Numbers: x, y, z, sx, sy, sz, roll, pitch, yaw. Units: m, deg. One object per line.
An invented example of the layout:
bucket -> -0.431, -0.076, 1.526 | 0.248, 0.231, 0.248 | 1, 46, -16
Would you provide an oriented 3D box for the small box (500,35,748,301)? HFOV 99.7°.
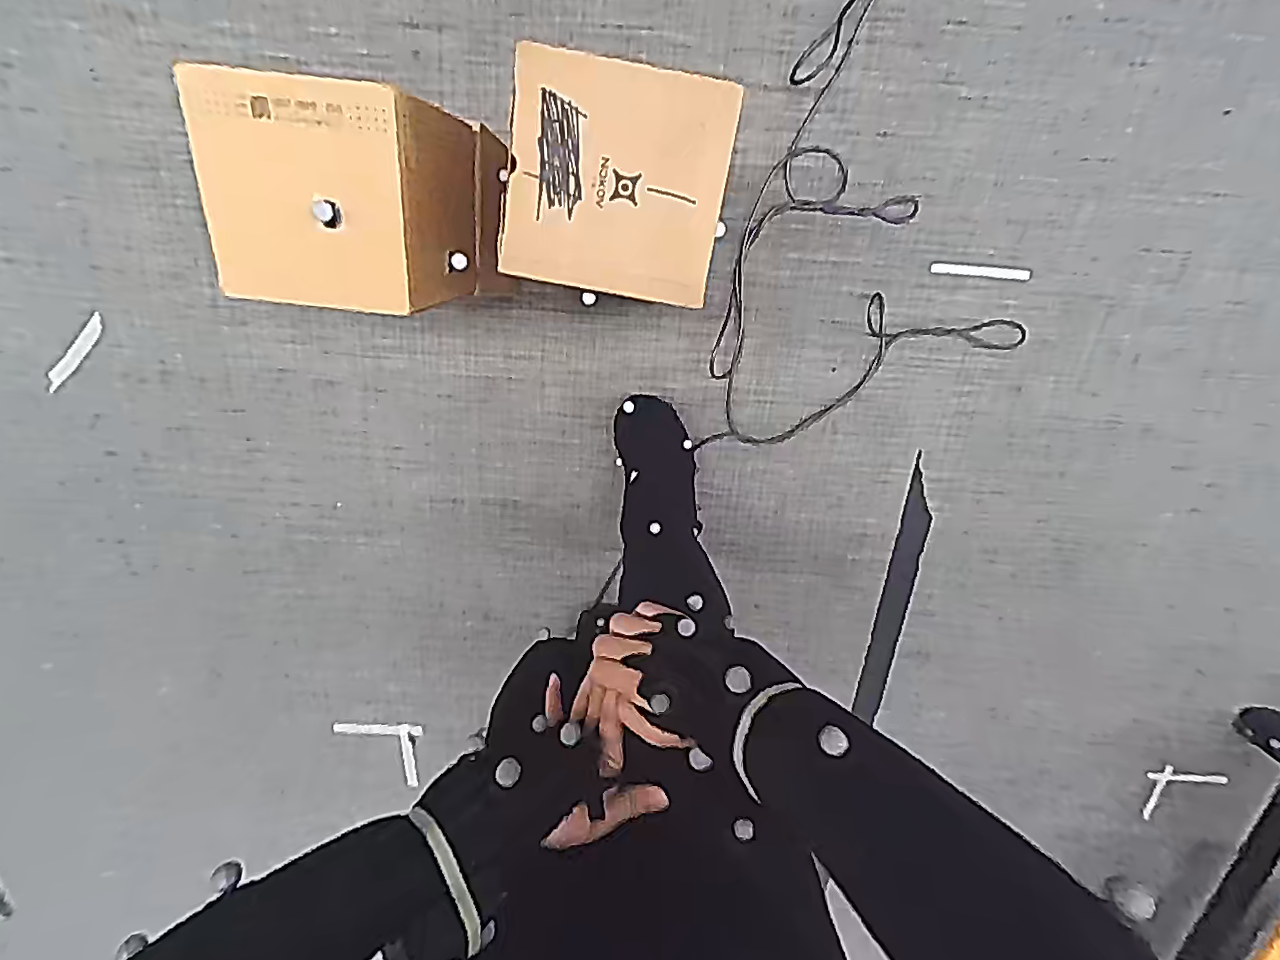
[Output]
small box -> -0.016, -0.266, 0.504 | 0.179, 0.176, 0.168 | 10, 109, -3
